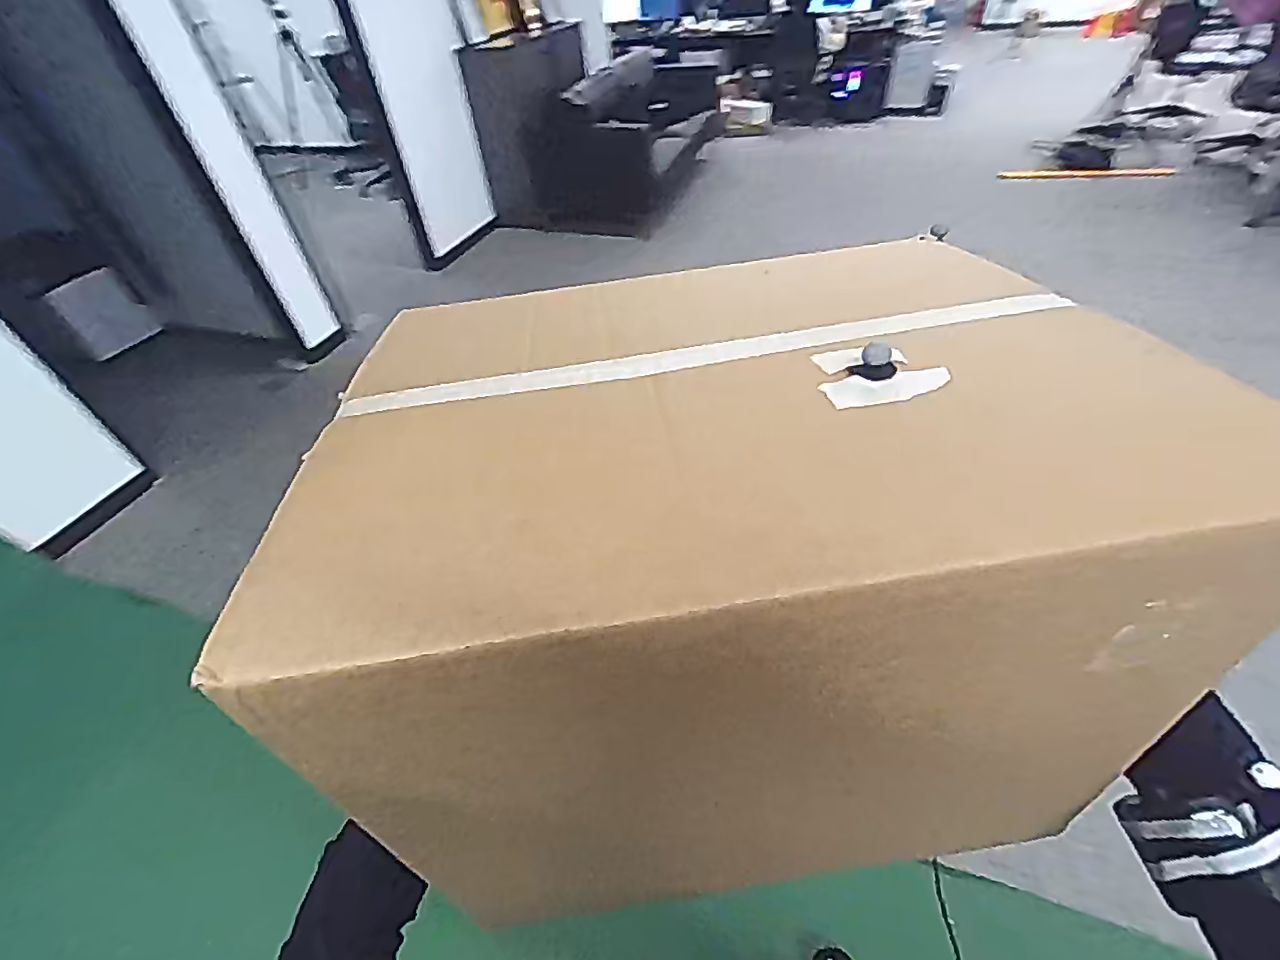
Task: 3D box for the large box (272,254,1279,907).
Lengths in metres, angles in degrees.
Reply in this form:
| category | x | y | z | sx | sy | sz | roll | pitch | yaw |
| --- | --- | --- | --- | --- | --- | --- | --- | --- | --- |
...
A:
| category | x | y | z | sx | sy | sz | roll | pitch | yaw |
| --- | --- | --- | --- | --- | --- | --- | --- | --- | --- |
| large box | 0.063 | 0.056 | 0.398 | 0.408 | 0.320 | 0.320 | -8 | 39 | -1 |
